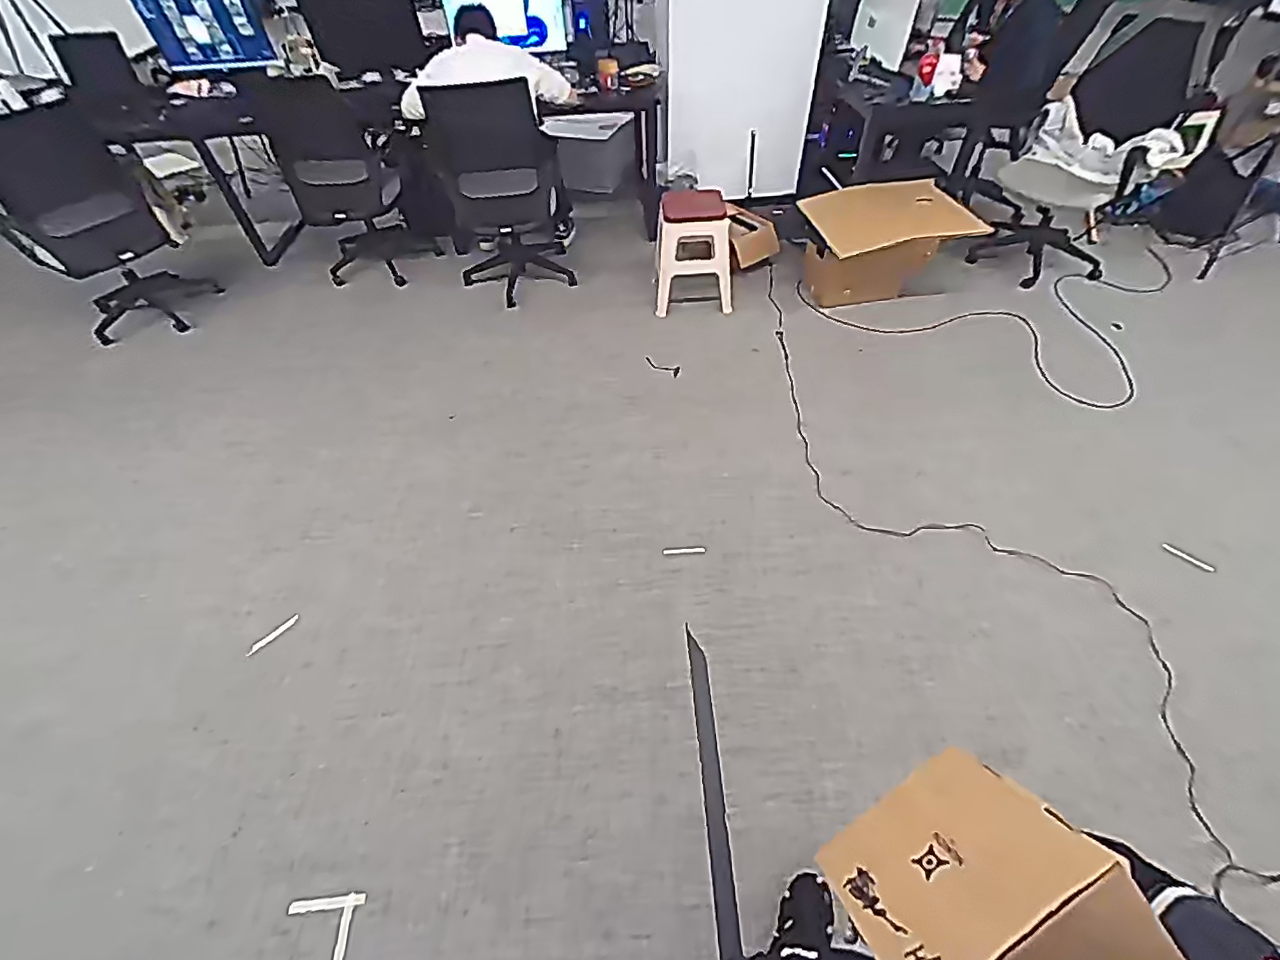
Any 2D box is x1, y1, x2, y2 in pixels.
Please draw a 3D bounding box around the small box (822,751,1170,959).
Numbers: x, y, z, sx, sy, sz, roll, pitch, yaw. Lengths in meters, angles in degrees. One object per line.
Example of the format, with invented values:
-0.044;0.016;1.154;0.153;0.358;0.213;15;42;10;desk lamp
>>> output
0.296;0.380;0.451;0.179;0.168;0.176;-34;92;-5;small box
